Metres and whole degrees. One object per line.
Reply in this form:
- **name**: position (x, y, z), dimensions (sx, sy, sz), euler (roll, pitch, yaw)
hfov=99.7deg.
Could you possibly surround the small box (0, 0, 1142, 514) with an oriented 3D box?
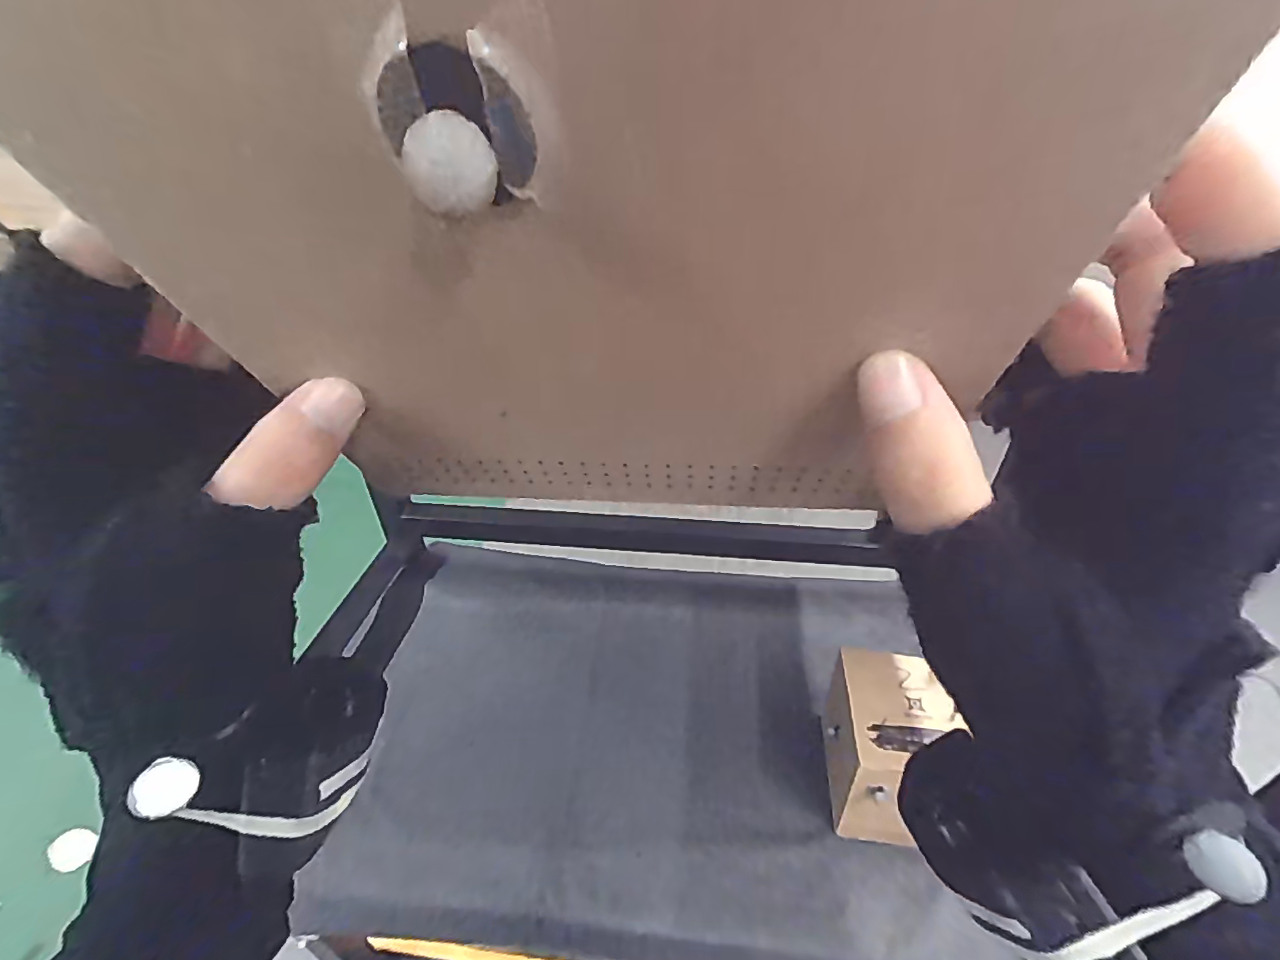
- **small box**: position (-0.009, -0.098, 0.156), dimensions (0.179, 0.176, 0.168), euler (2, 63, 6)
